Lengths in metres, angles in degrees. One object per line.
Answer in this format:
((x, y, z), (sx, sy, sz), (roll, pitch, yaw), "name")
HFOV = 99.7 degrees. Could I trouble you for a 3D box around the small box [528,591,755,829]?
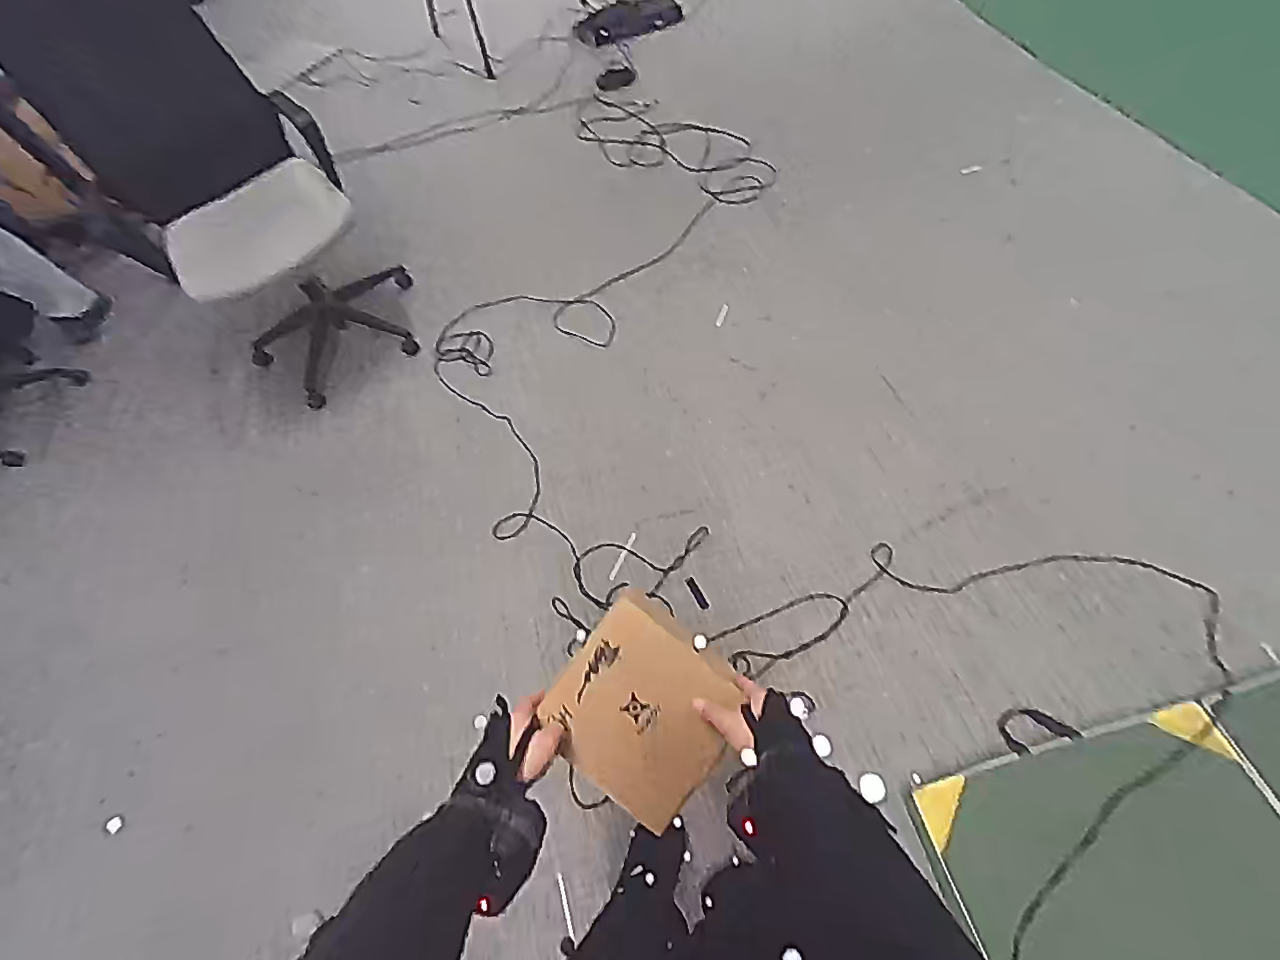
((0.003, 0.243, 0.630), (0.179, 0.176, 0.168), (39, 84, 6), "small box")
